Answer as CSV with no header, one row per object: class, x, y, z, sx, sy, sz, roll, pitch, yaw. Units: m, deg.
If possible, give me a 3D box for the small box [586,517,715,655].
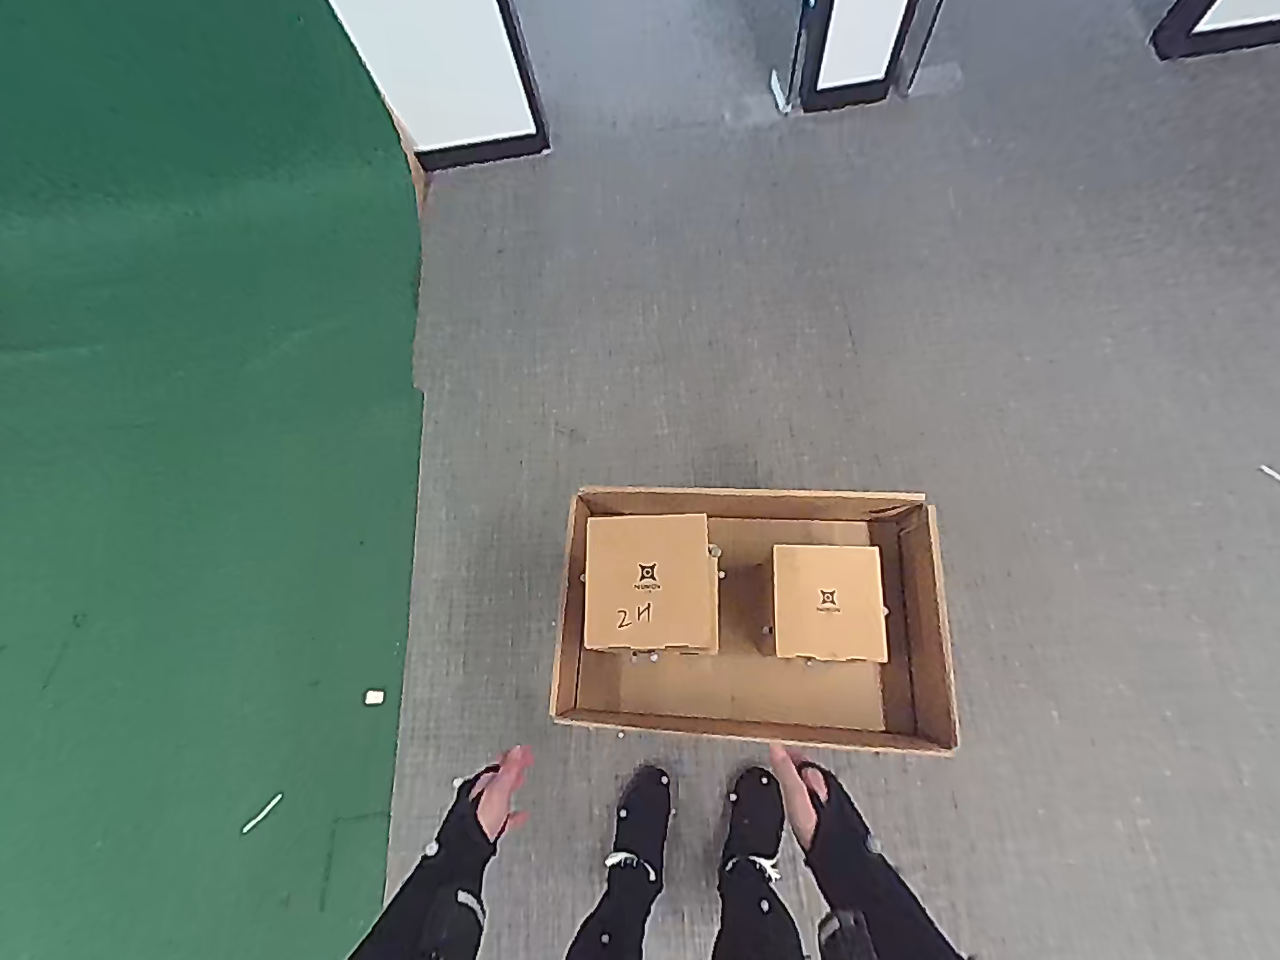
small box,0.020,0.158,0.779,0.168,0.176,0.179,-1,73,5
